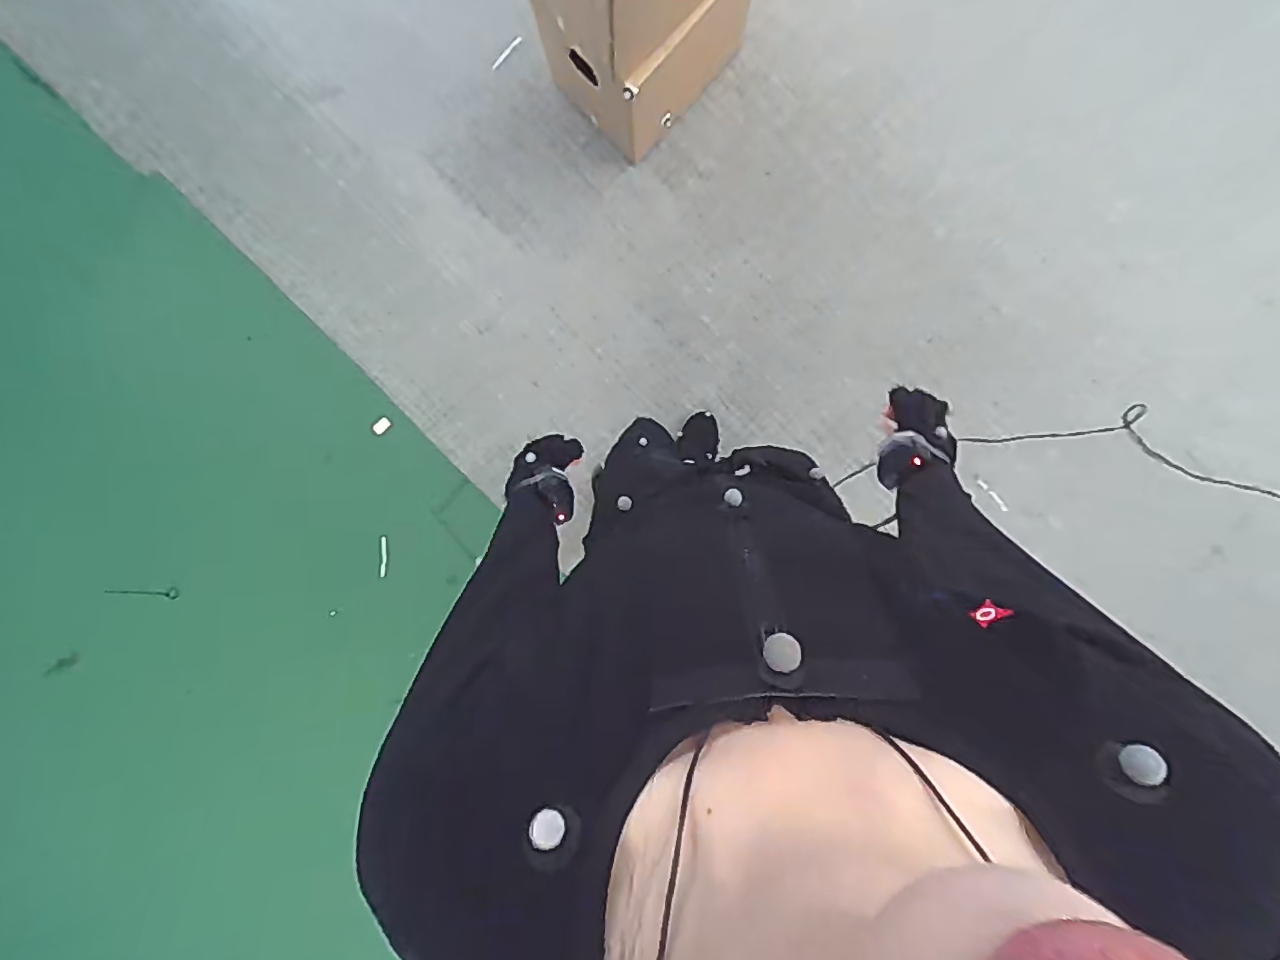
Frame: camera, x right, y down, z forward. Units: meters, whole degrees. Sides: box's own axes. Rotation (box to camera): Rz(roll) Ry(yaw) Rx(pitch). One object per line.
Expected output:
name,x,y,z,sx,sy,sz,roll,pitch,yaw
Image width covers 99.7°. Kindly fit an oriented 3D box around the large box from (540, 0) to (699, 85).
large box,-0.006,-1.032,0.939,0.408,0.320,0.320,-44,97,6
